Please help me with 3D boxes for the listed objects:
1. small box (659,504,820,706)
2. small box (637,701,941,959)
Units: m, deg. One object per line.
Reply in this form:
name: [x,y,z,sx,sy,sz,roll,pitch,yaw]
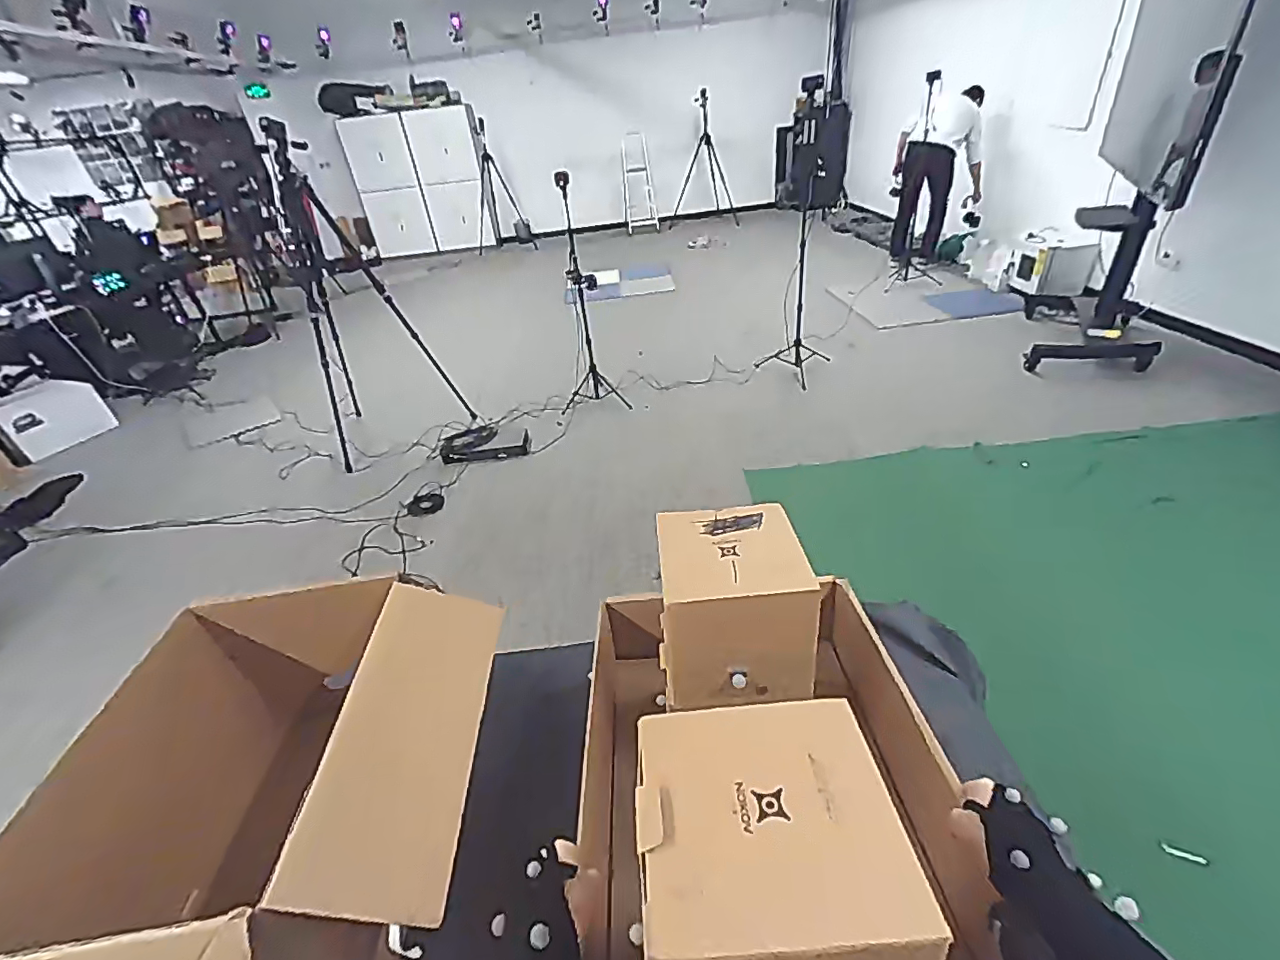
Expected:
small box: [0.113,0.151,0.674,0.168,0.176,0.179,-6,30,2]
small box: [0.095,0.302,0.419,0.179,0.176,0.168,-6,30,1]
